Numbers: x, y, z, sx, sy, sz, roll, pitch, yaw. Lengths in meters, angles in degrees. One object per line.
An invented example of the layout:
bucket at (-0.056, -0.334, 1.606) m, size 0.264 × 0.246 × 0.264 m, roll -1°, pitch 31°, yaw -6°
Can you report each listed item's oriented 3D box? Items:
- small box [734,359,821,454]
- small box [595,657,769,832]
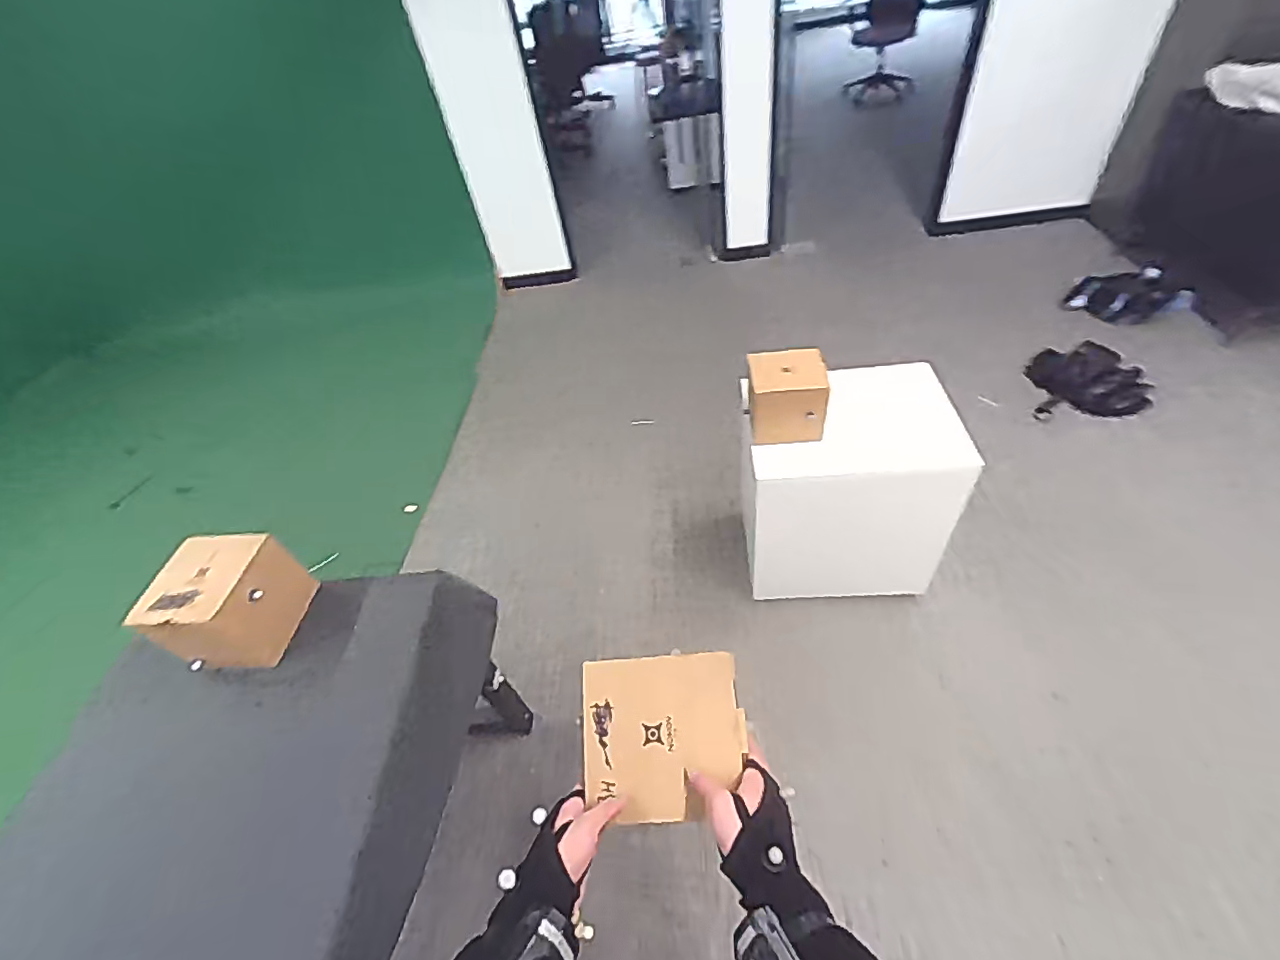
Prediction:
small box at (0.336, -0.182, 1.355) m, size 0.179 × 0.176 × 0.168 m, roll -4°, pitch 44°, yaw 3°
small box at (0.045, 0.306, 0.644) m, size 0.179 × 0.176 × 0.168 m, roll -5°, pitch 66°, yaw 4°
